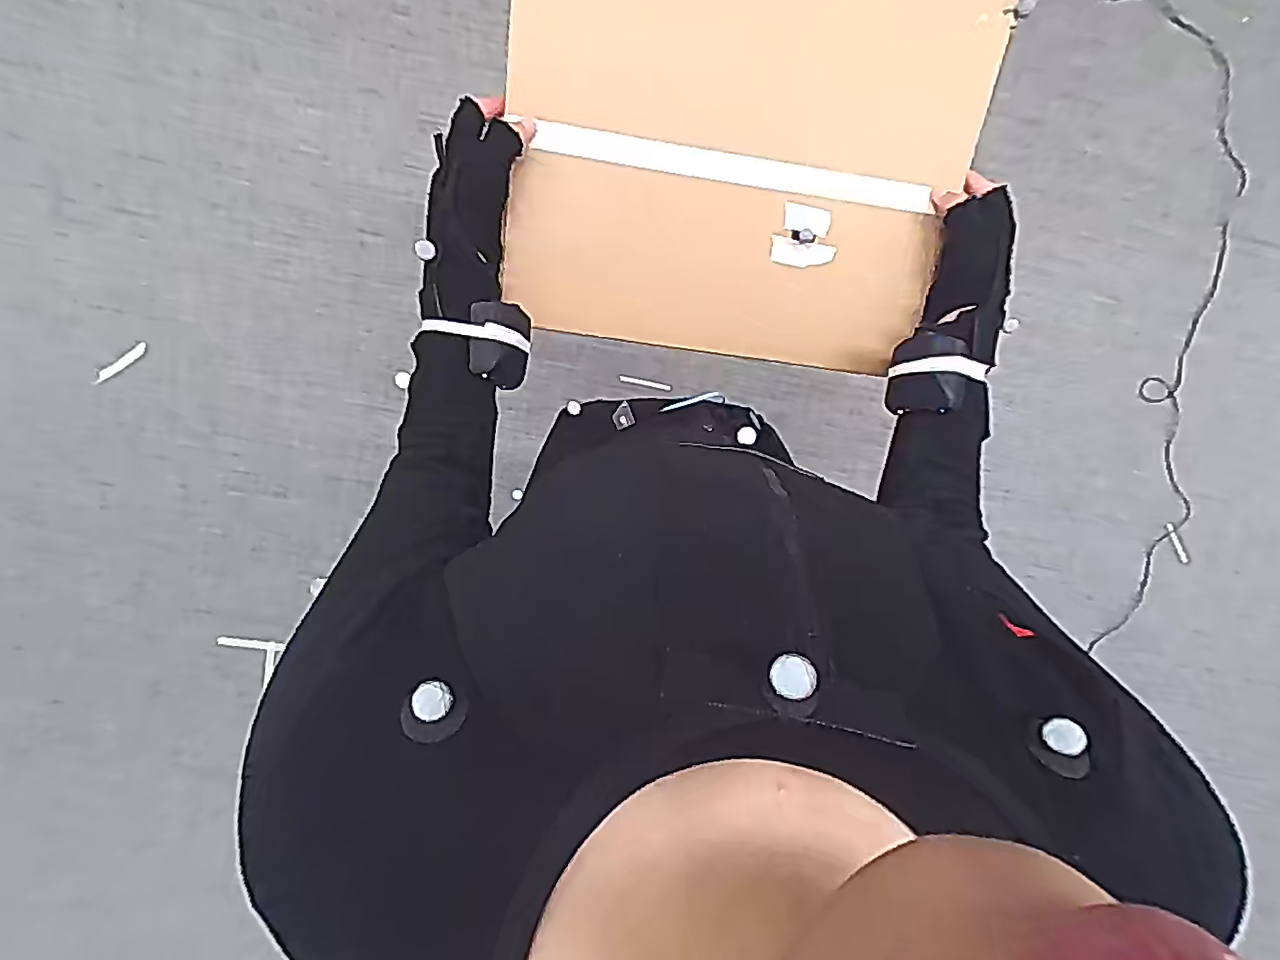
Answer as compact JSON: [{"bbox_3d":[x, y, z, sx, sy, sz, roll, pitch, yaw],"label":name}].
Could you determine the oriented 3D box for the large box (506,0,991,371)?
[{"bbox_3d":[0.073,-0.322,0.624,0.408,0.320,0.320,6,110,-7],"label":"large box"}]
